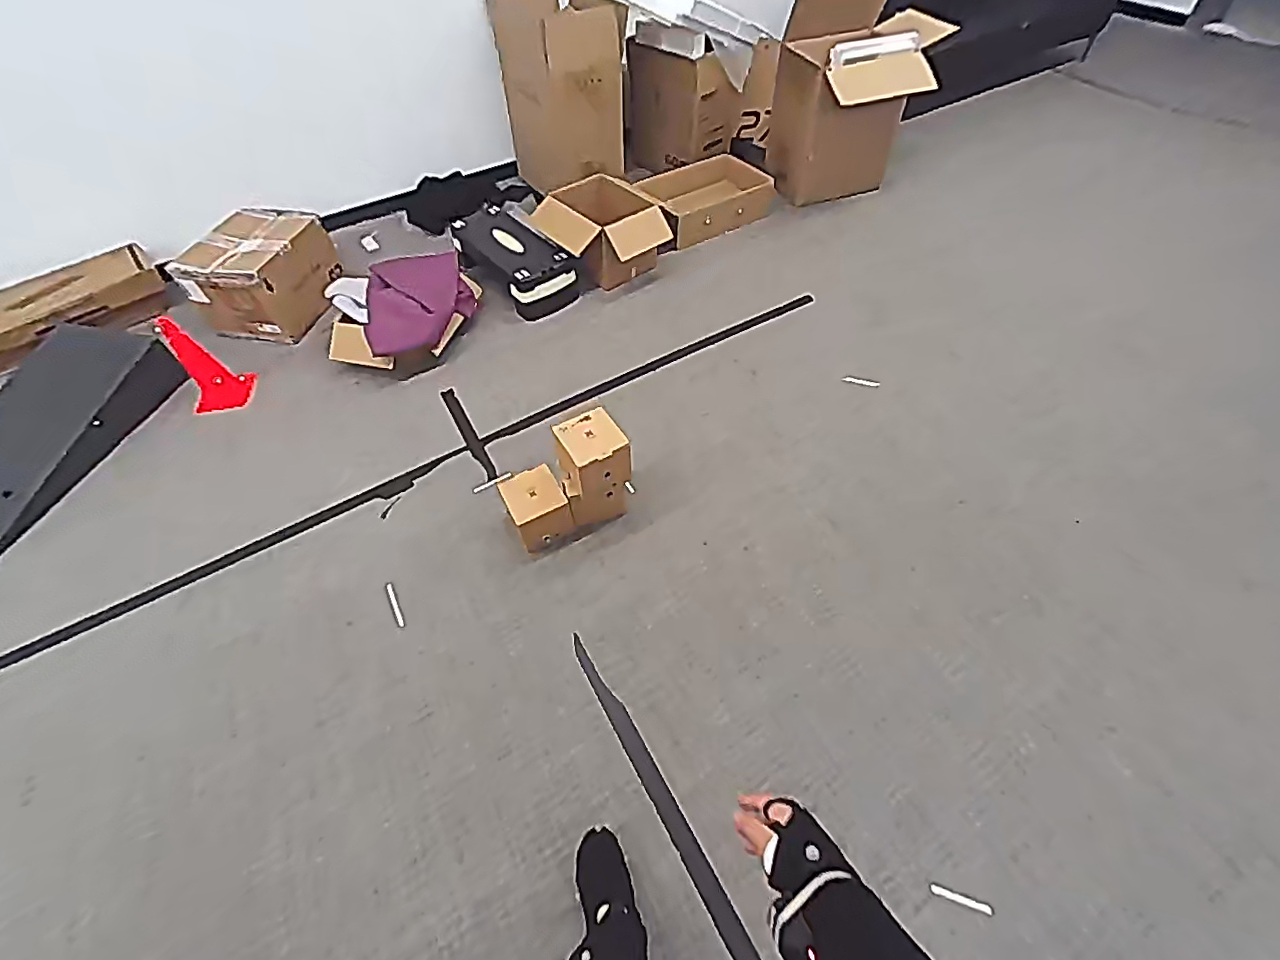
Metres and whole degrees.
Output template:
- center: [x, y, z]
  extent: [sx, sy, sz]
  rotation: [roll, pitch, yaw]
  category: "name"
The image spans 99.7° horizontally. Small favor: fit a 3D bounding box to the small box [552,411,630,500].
- center: [-0.138, -0.064, 1.599]
  extent: [0.168, 0.176, 0.179]
  rotation: [-26, 57, -17]
  category: "small box"
